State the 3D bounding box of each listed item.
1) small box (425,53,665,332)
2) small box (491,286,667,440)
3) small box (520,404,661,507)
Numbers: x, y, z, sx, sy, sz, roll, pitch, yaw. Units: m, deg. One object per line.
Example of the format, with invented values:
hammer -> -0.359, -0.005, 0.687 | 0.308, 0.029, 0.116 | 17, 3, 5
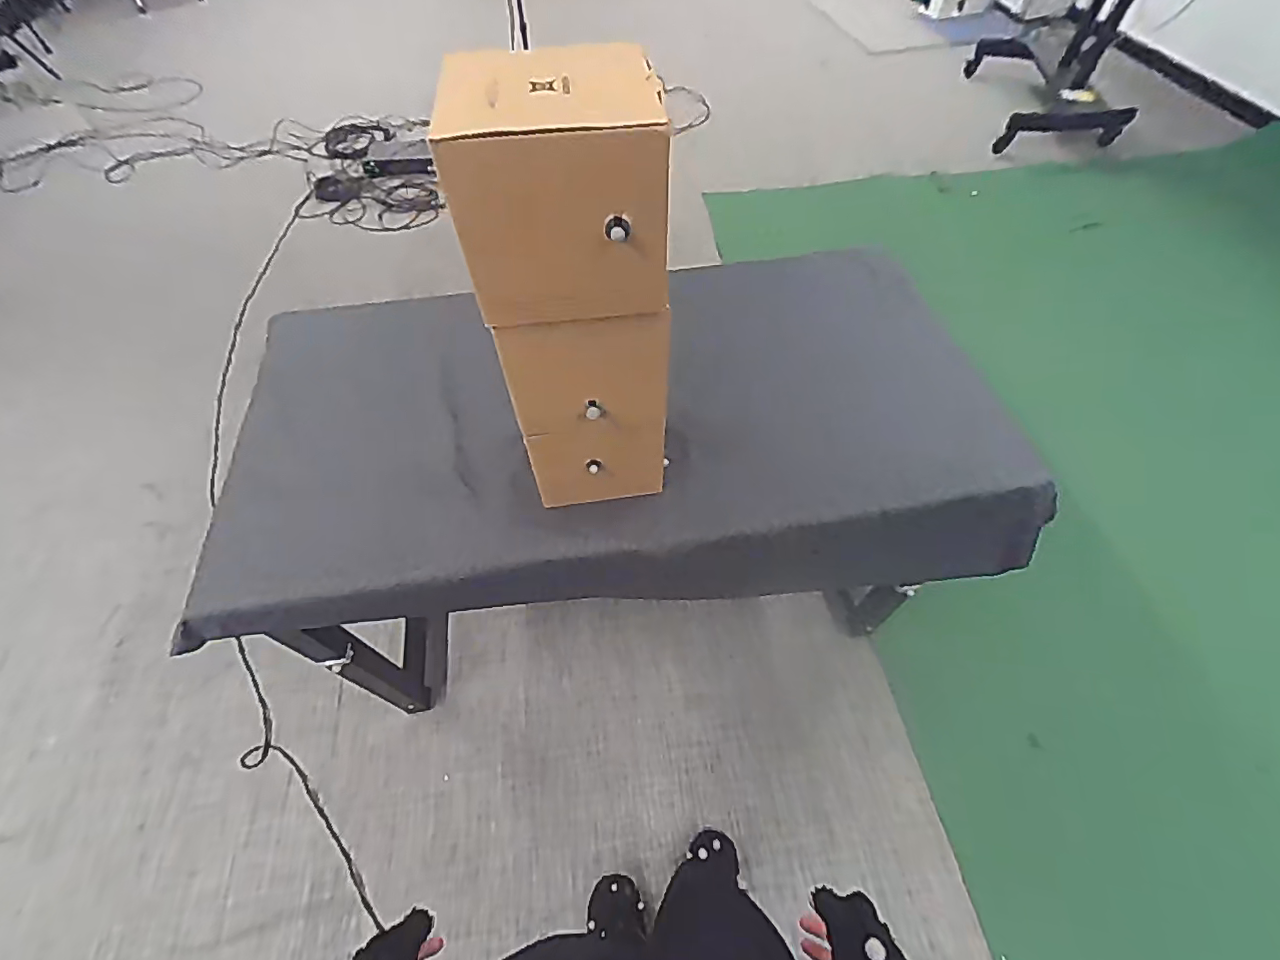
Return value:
small box -> -0.076, -0.259, 0.500 | 0.179, 0.176, 0.168 | -7, 54, -3
small box -> -0.072, -0.168, 0.638 | 0.179, 0.176, 0.168 | -9, 57, -5
small box -> -0.070, -0.080, 0.772 | 0.179, 0.176, 0.168 | -8, 55, -4
